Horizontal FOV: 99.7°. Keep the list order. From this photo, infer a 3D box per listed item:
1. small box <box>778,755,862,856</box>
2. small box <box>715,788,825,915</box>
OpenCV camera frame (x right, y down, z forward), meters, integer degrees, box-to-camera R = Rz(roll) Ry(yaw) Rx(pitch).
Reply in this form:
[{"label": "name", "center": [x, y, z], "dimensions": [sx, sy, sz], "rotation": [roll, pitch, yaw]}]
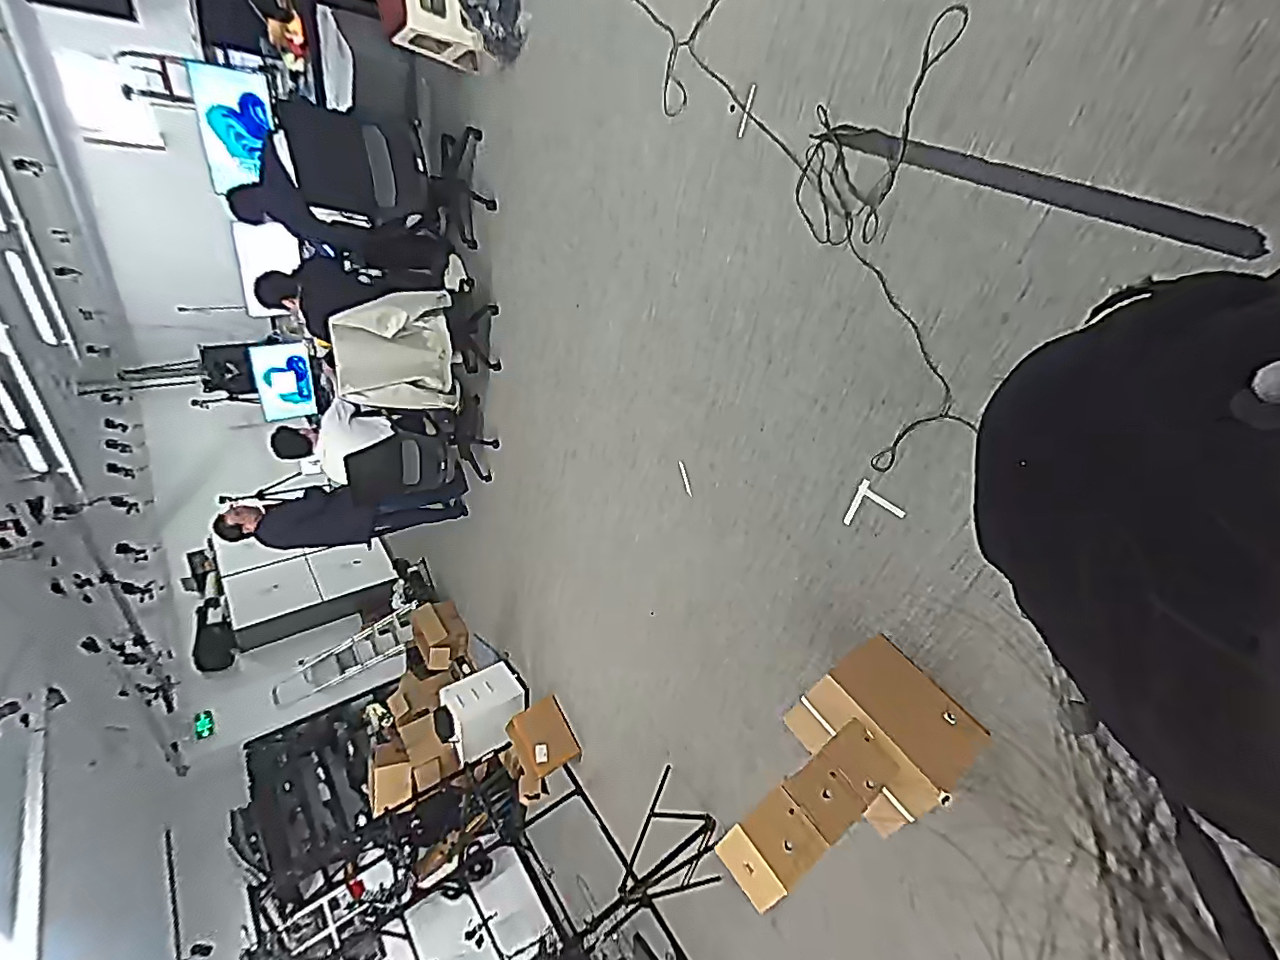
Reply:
[{"label": "small box", "center": [0.443, 0.854, 1.404], "dimensions": [0.168, 0.176, 0.179], "rotation": [47, 136, 31]}, {"label": "small box", "center": [0.317, 0.889, 1.308], "dimensions": [0.168, 0.176, 0.179], "rotation": [45, 136, 32]}]
